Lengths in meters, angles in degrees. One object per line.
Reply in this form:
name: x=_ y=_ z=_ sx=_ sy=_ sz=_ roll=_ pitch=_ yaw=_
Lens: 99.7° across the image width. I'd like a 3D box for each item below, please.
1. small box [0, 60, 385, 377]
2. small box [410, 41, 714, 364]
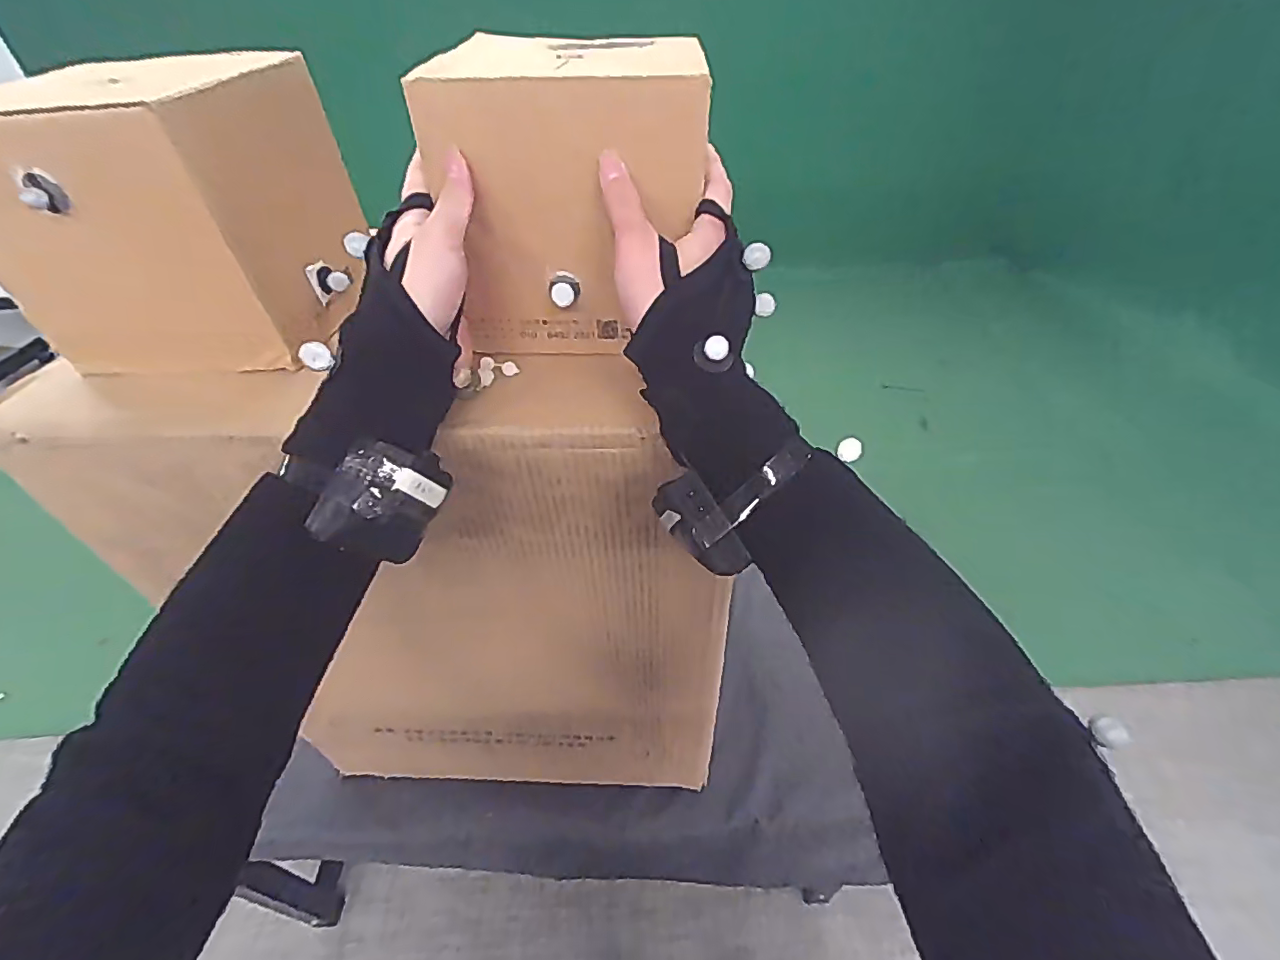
small box: x=-0.327 y=-0.189 z=0.398 sx=0.179 sy=0.176 sz=0.168 roll=1 pitch=46 yaw=3
small box: x=-0.039 y=-0.205 z=0.398 sx=0.168 sy=0.176 sz=0.179 roll=1 pitch=45 yaw=1
